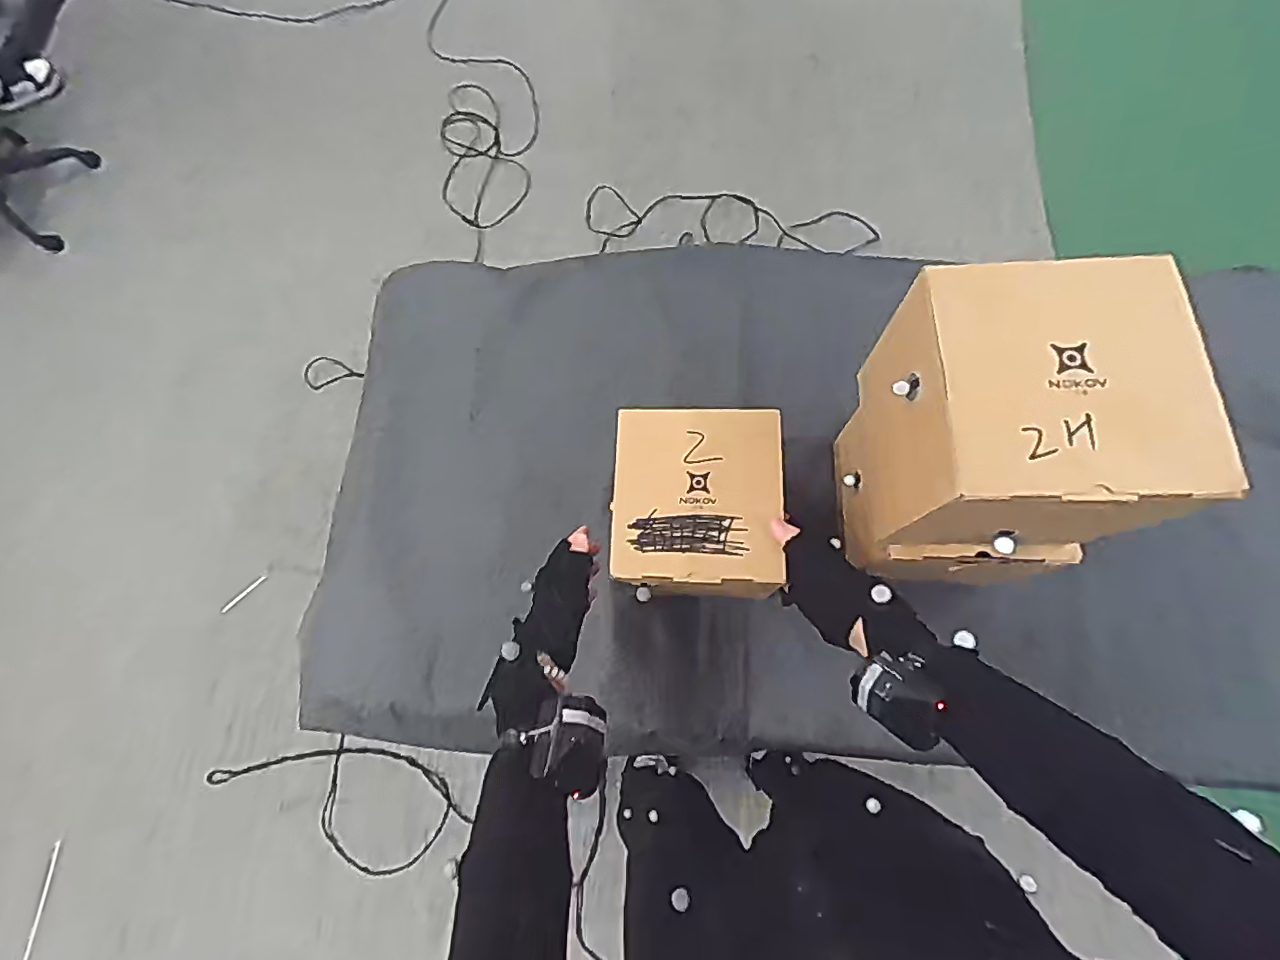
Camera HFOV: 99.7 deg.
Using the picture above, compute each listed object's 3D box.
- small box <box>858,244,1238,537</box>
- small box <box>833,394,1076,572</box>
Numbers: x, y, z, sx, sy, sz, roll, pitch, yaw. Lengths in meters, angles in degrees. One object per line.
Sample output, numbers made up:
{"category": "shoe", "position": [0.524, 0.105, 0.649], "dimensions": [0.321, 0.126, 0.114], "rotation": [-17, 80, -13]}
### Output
{"category": "small box", "position": [0.284, -0.055, 0.429], "dimensions": [0.168, 0.176, 0.179], "rotation": [-1, 75, 6]}
{"category": "small box", "position": [0.313, 0.004, 0.581], "dimensions": [0.168, 0.176, 0.179], "rotation": [0, 74, 6]}
